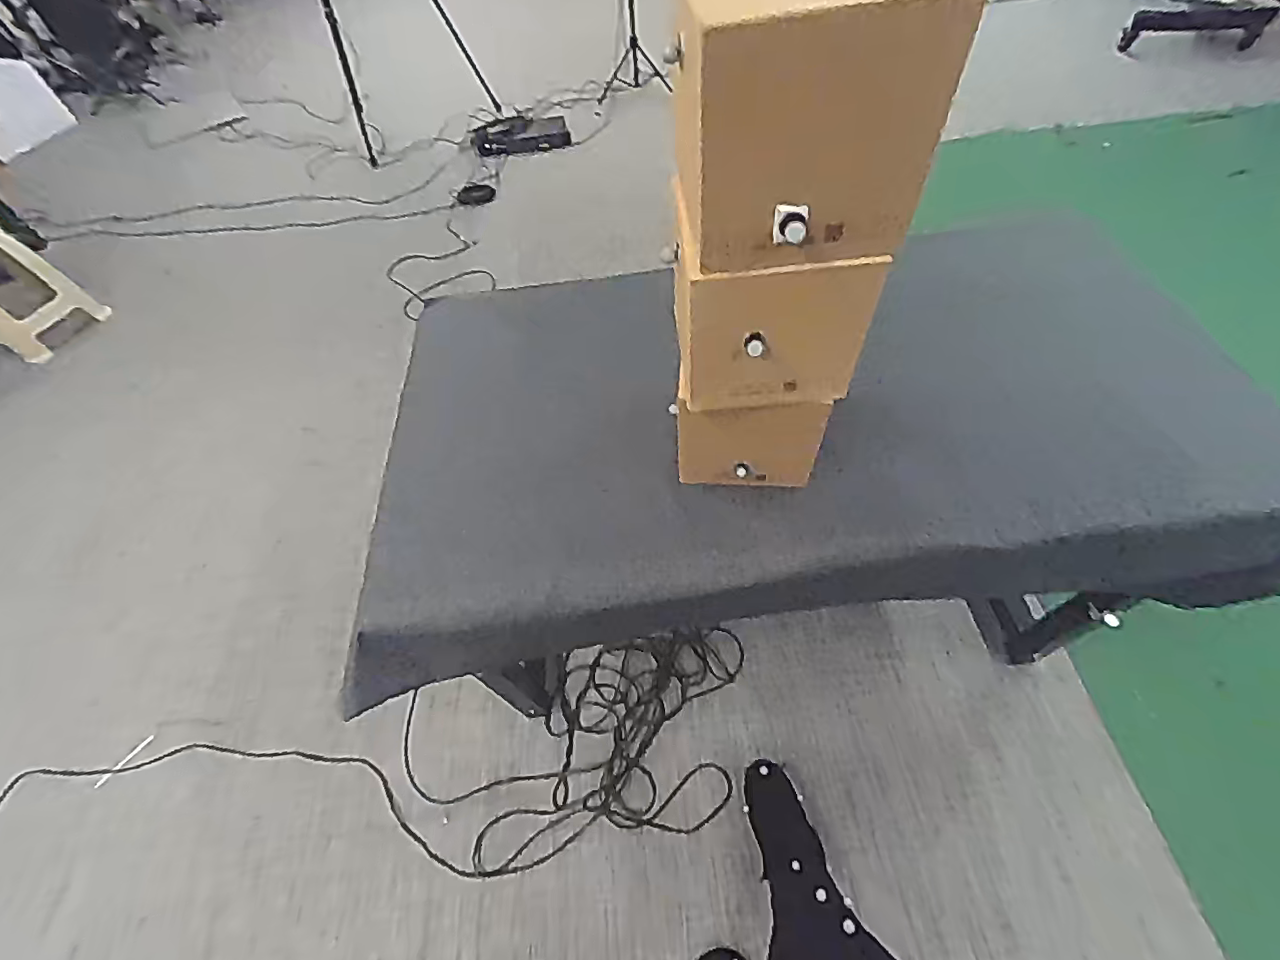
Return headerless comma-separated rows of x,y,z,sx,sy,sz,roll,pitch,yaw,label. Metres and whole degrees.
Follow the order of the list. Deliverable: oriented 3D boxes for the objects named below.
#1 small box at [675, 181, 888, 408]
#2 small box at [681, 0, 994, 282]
0.126,-0.187,0.552,0.168,0.176,0.179,-5,55,2,small box
0.121,-0.282,0.420,0.168,0.176,0.179,-7,56,2,small box
